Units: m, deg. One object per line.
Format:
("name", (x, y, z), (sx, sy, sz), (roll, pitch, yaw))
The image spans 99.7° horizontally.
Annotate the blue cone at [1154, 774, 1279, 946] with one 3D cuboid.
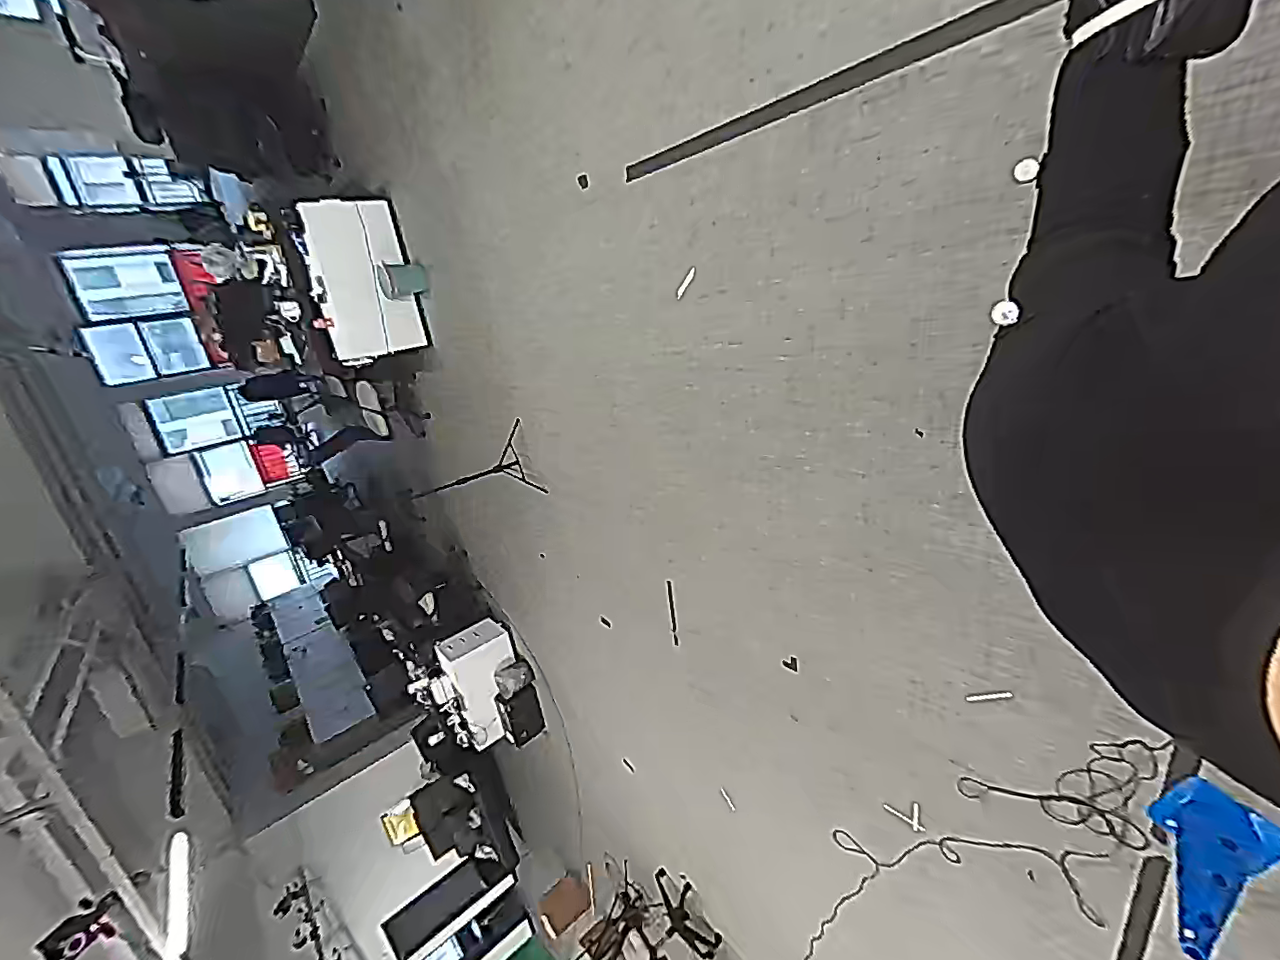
("blue cone", (1.246, 0.857, 1.182), (0.193, 0.380, 0.192), (37, 136, 35))
